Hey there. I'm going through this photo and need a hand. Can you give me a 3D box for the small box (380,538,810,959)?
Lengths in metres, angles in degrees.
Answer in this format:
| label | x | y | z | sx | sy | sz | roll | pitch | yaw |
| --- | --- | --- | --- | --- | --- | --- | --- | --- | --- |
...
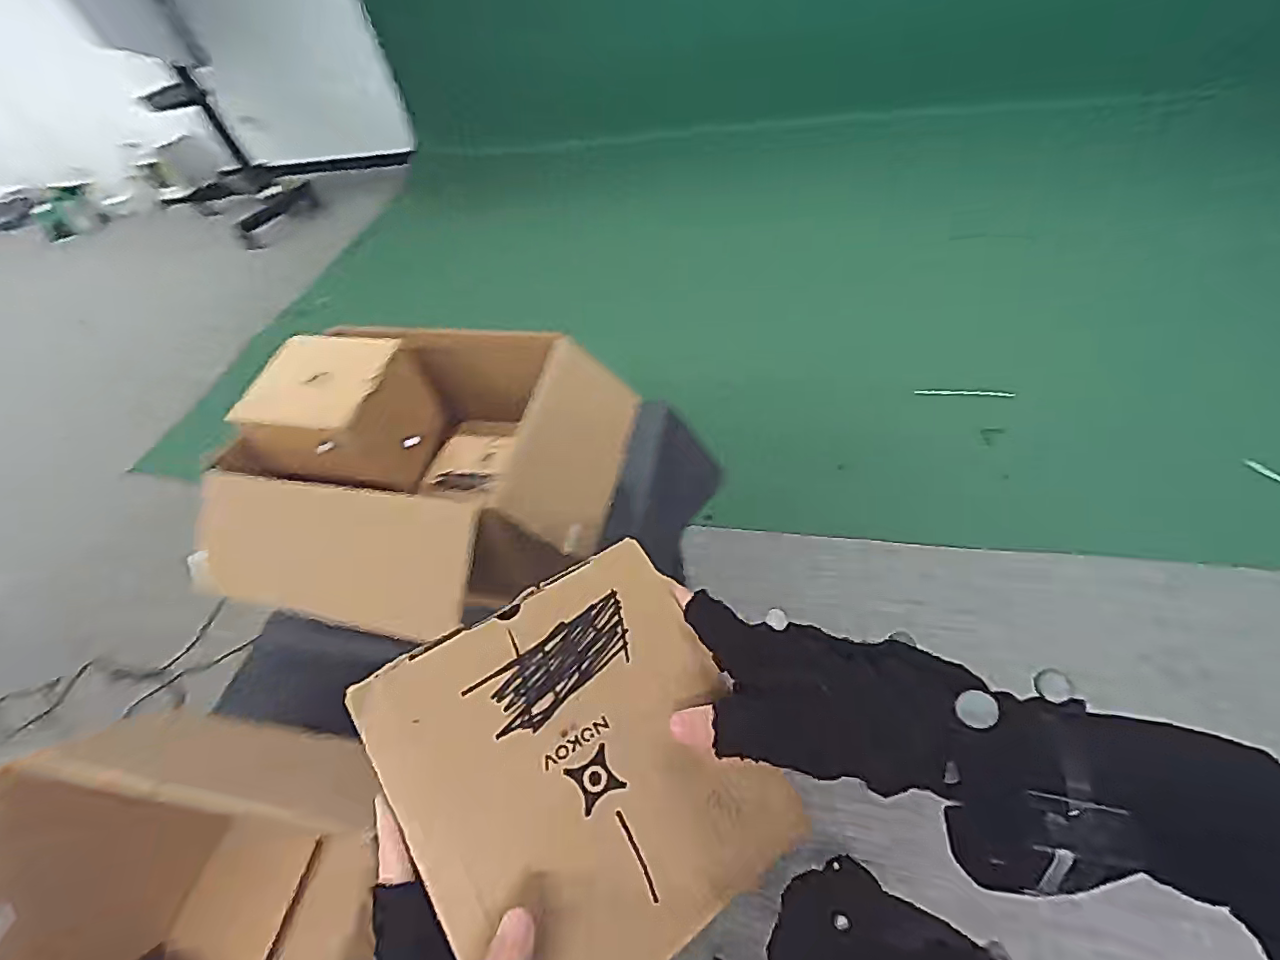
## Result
| label | x | y | z | sx | sy | sz | roll | pitch | yaw |
| --- | --- | --- | --- | --- | --- | --- | --- | --- | --- |
| small box | -0.039 | 0.168 | 0.341 | 0.168 | 0.176 | 0.179 | -24 | 73 | -23 |
